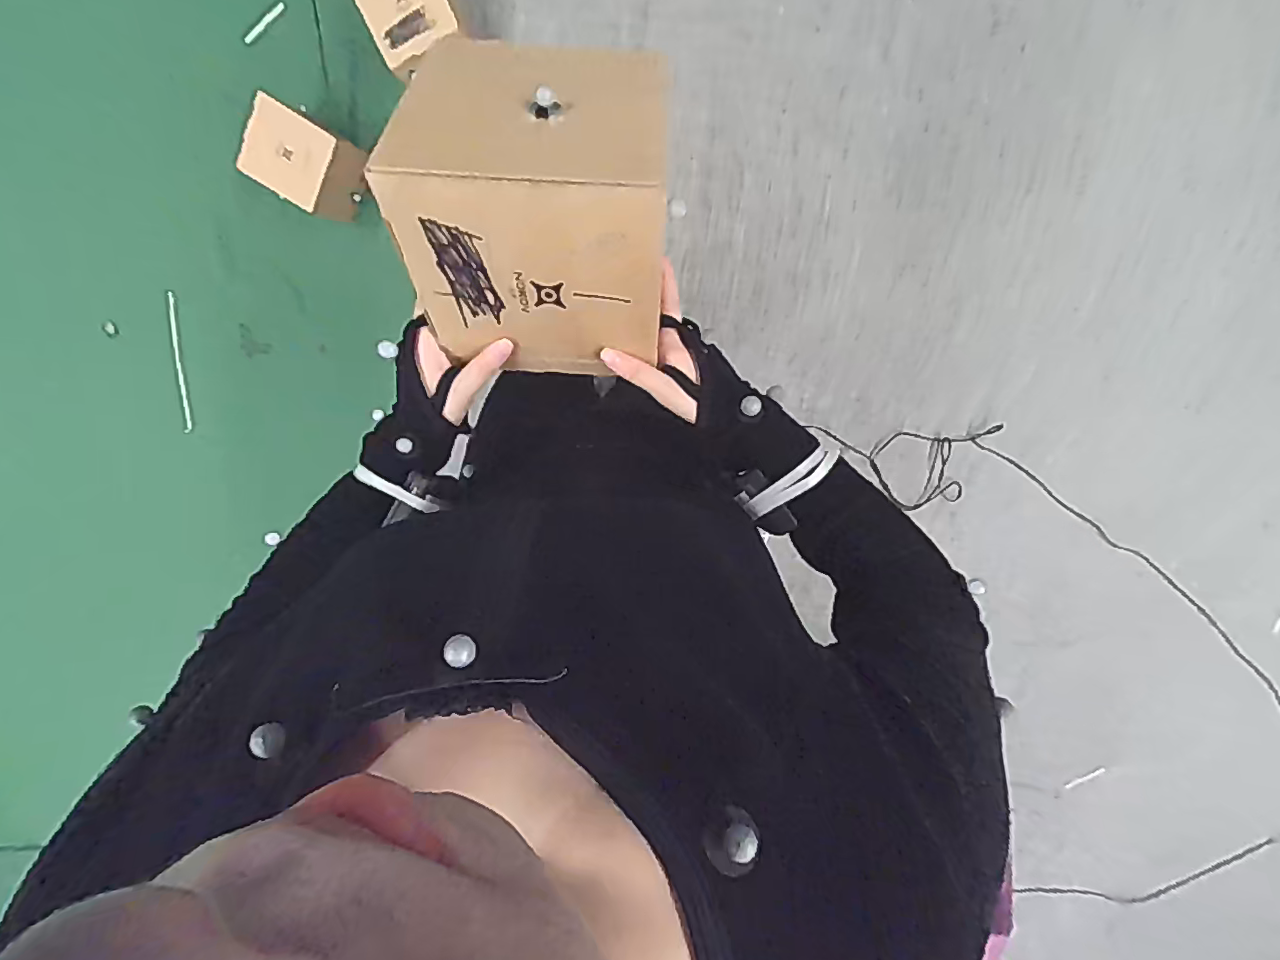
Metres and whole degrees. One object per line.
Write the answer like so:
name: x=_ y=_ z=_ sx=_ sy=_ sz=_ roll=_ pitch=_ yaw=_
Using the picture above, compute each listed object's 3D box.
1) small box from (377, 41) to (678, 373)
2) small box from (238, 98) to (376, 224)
small box: x=-0.066 y=-0.206 z=0.420 sx=0.179 sy=0.176 sz=0.168 roll=3 pitch=149 yaw=-1
small box: x=-0.740 y=-0.701 z=1.217 sx=0.179 sy=0.176 sz=0.168 roll=31 pitch=107 yaw=-8
